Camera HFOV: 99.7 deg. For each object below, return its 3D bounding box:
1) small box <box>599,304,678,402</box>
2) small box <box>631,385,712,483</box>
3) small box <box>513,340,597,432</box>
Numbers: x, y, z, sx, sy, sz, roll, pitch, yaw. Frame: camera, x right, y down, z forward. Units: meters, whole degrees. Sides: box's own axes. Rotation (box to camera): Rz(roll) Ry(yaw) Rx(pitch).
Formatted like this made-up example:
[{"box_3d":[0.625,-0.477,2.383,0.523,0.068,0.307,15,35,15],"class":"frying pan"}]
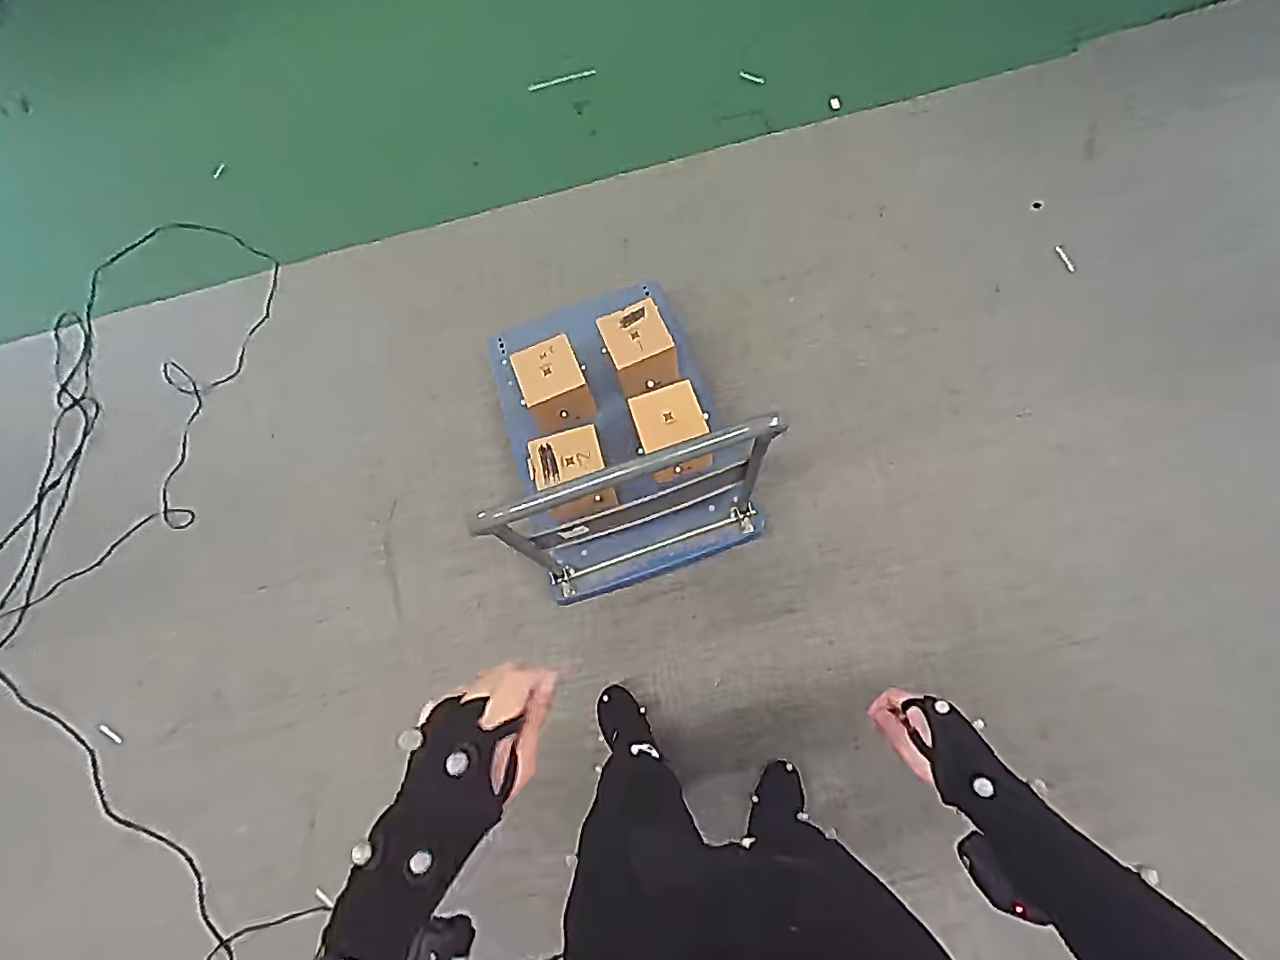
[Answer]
[{"box_3d":[-0.001,-0.353,1.527,0.168,0.176,0.179,-23,69,0],"class":"small box"},{"box_3d":[0.083,-0.116,1.426,0.168,0.176,0.179,-19,68,0],"class":"small box"},{"box_3d":[-0.232,-0.253,1.521,0.168,0.176,0.179,-23,68,-2],"class":"small box"}]
